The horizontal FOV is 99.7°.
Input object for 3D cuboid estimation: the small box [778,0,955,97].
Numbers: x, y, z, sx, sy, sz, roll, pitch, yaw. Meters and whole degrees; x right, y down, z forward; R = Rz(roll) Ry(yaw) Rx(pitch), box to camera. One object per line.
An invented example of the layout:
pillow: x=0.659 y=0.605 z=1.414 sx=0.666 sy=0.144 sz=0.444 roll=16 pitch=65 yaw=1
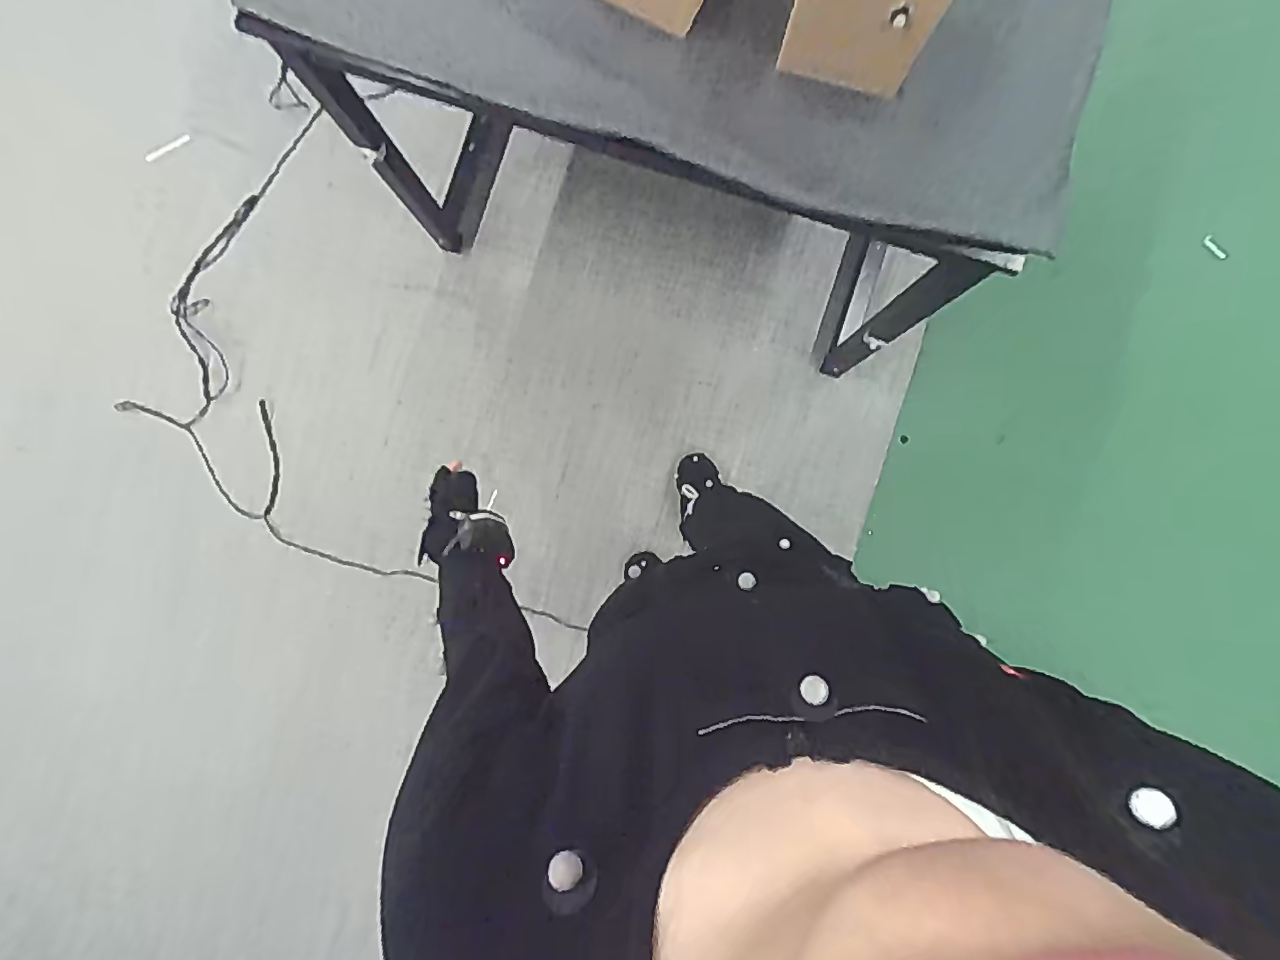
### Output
small box: x=0.301 y=-0.646 z=0.701 sx=0.179 sy=0.176 sz=0.168 roll=16 pitch=87 yaw=2
